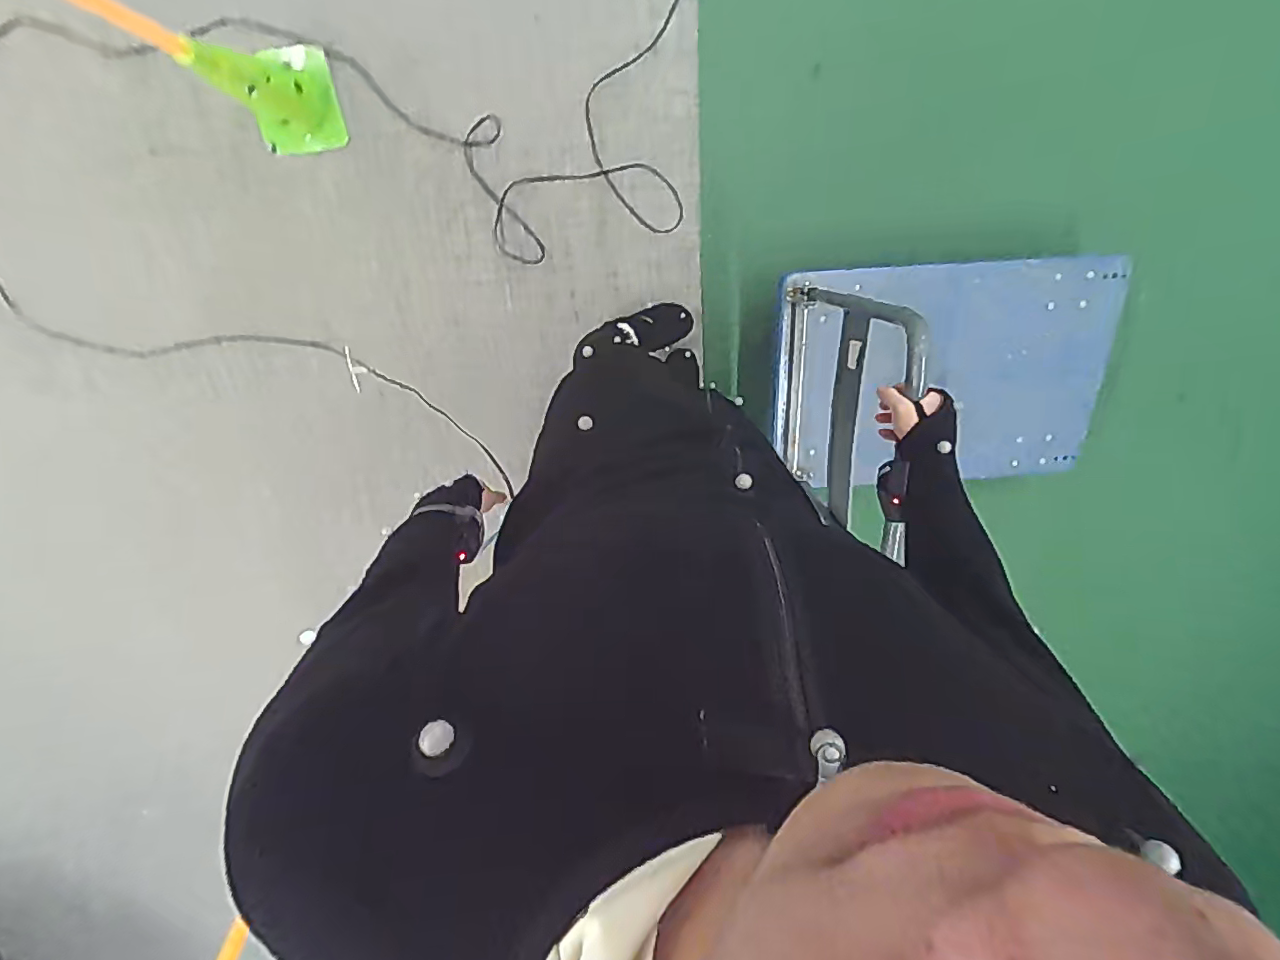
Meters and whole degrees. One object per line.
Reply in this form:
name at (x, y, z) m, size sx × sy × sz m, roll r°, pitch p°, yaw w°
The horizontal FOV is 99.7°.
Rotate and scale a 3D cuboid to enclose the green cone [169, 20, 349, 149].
green cone at (-0.799, -0.839, 1.109) m, size 0.200 × 0.368 × 0.202 m, roll -8°, pitch 112°, yaw 2°
